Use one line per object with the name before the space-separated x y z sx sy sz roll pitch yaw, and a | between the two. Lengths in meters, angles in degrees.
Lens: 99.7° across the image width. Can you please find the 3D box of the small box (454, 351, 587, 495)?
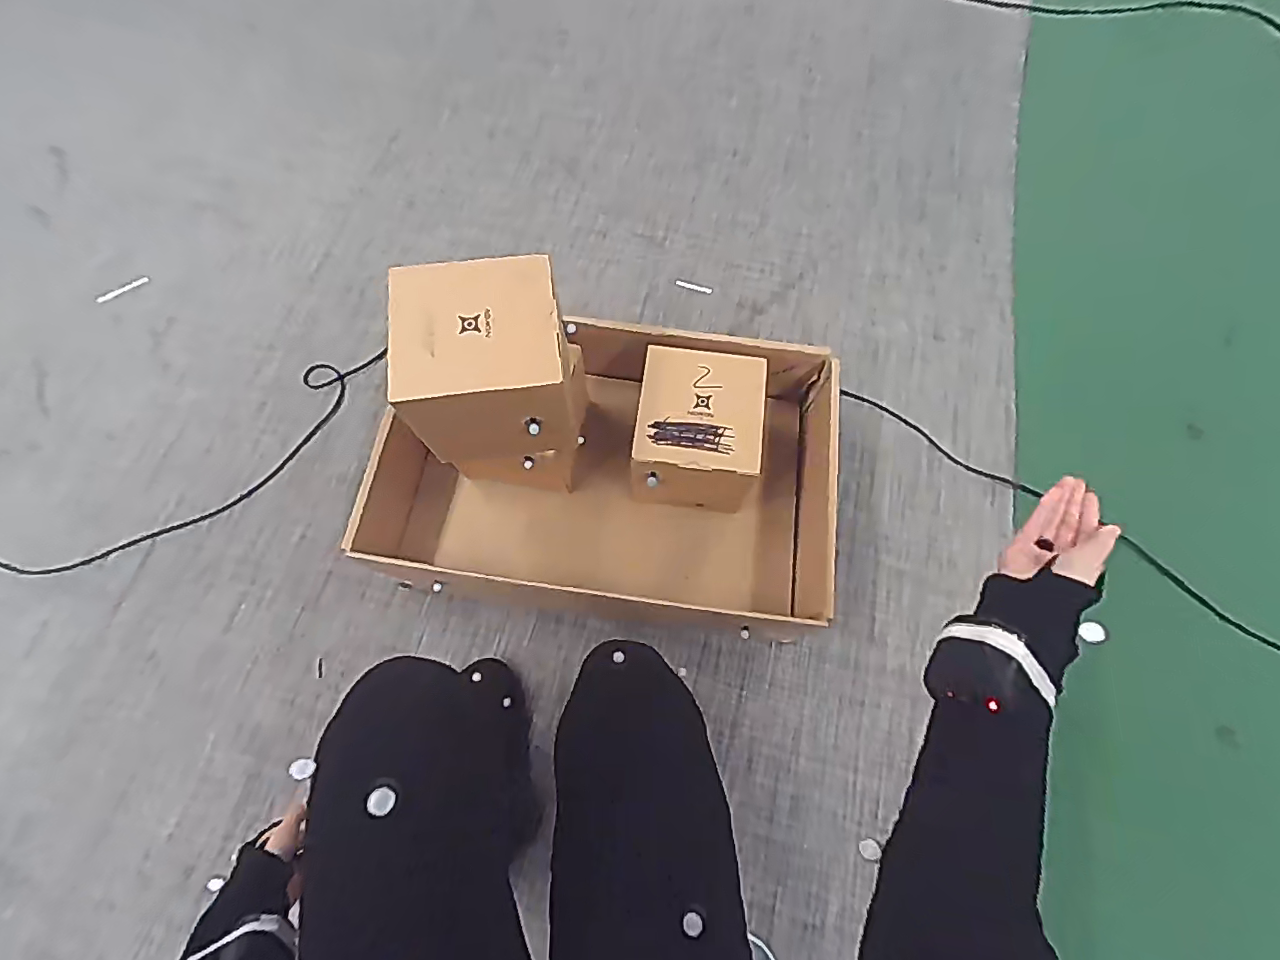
small box | -0.183 -0.087 0.798 0.179 0.176 0.168 9 70 1

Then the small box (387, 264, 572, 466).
small box | -0.175 -0.126 0.639 0.179 0.176 0.168 -7 71 -3
